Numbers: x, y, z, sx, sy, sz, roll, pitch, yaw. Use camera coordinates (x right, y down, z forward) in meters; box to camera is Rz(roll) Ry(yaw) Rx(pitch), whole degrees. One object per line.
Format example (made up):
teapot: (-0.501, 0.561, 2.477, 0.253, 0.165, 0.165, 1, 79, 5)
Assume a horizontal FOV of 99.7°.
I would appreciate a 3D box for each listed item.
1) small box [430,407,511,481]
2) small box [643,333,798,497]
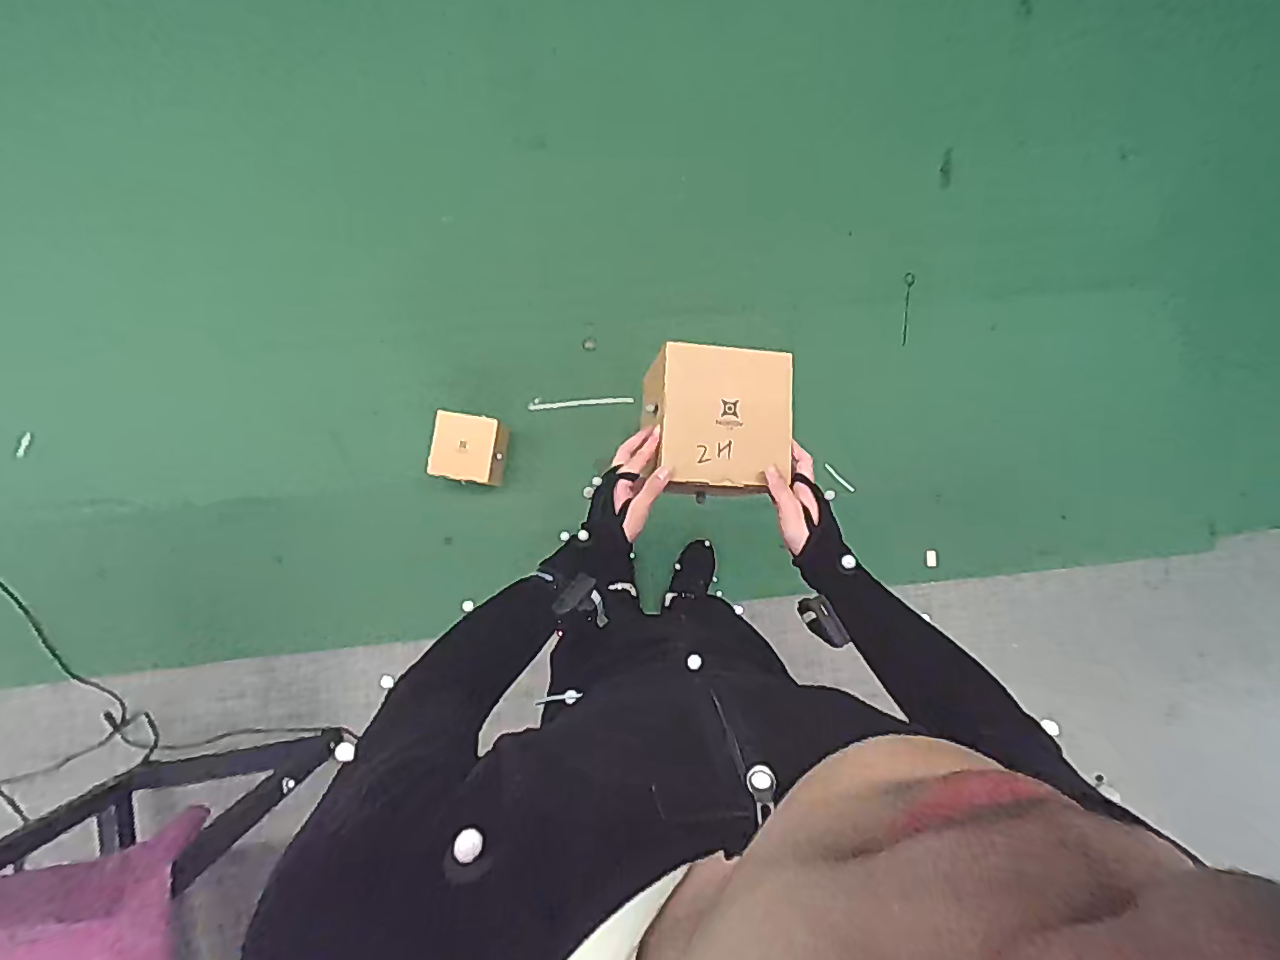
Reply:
small box: (-0.470, -0.096, 1.524, 0.168, 0.176, 0.179, 9, 89, -2)
small box: (0.099, -0.076, 0.731, 0.168, 0.176, 0.179, 4, 83, -8)
